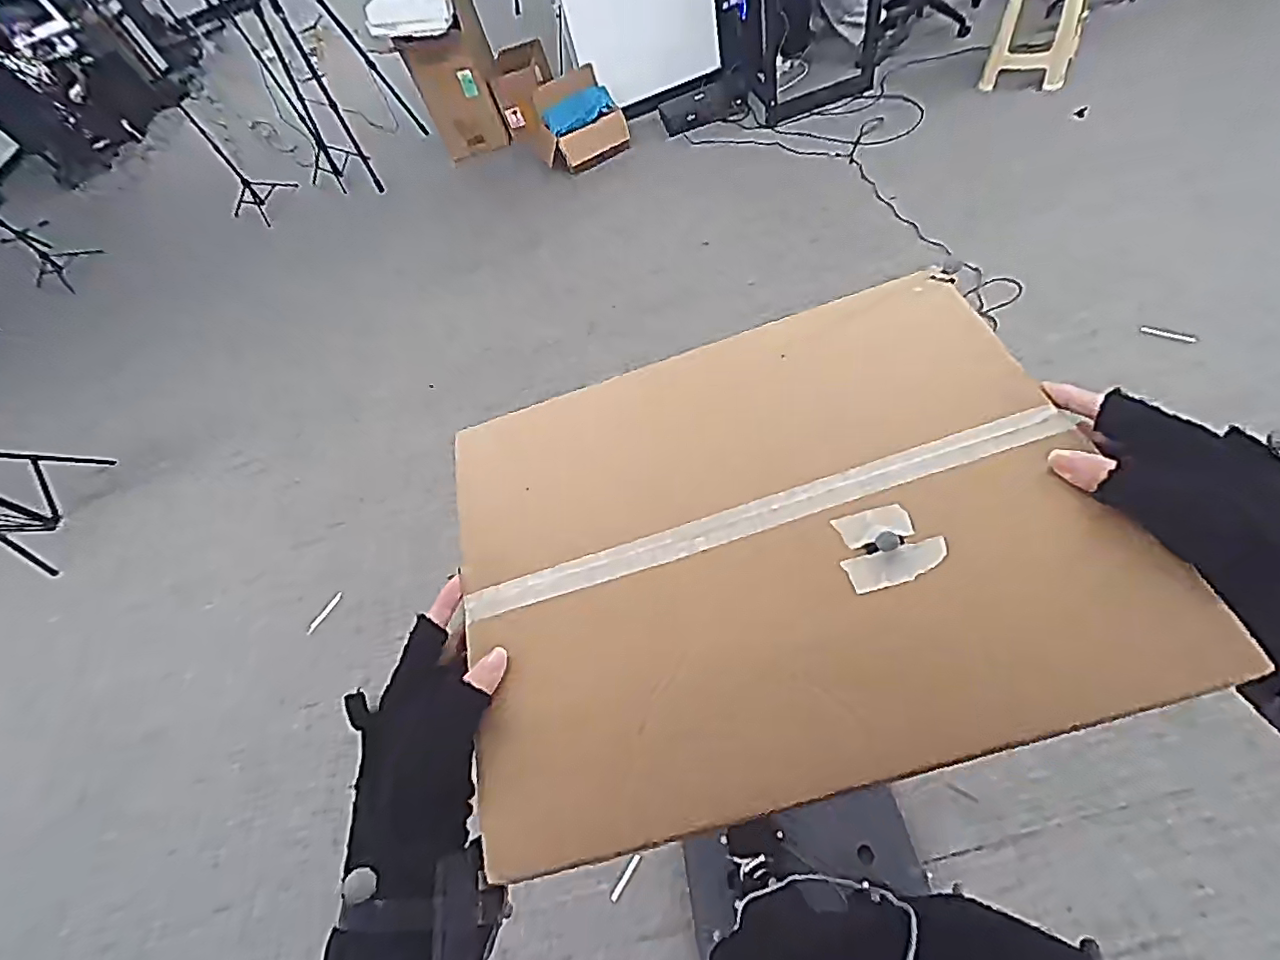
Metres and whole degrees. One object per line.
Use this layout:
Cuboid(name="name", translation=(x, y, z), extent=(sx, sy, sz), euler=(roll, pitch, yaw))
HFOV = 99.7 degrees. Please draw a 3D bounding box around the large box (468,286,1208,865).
Cuboid(name="large box", translation=(0.107, 0.101, 0.496), extent=(0.408, 0.320, 0.320), euler=(-18, 59, 4))
